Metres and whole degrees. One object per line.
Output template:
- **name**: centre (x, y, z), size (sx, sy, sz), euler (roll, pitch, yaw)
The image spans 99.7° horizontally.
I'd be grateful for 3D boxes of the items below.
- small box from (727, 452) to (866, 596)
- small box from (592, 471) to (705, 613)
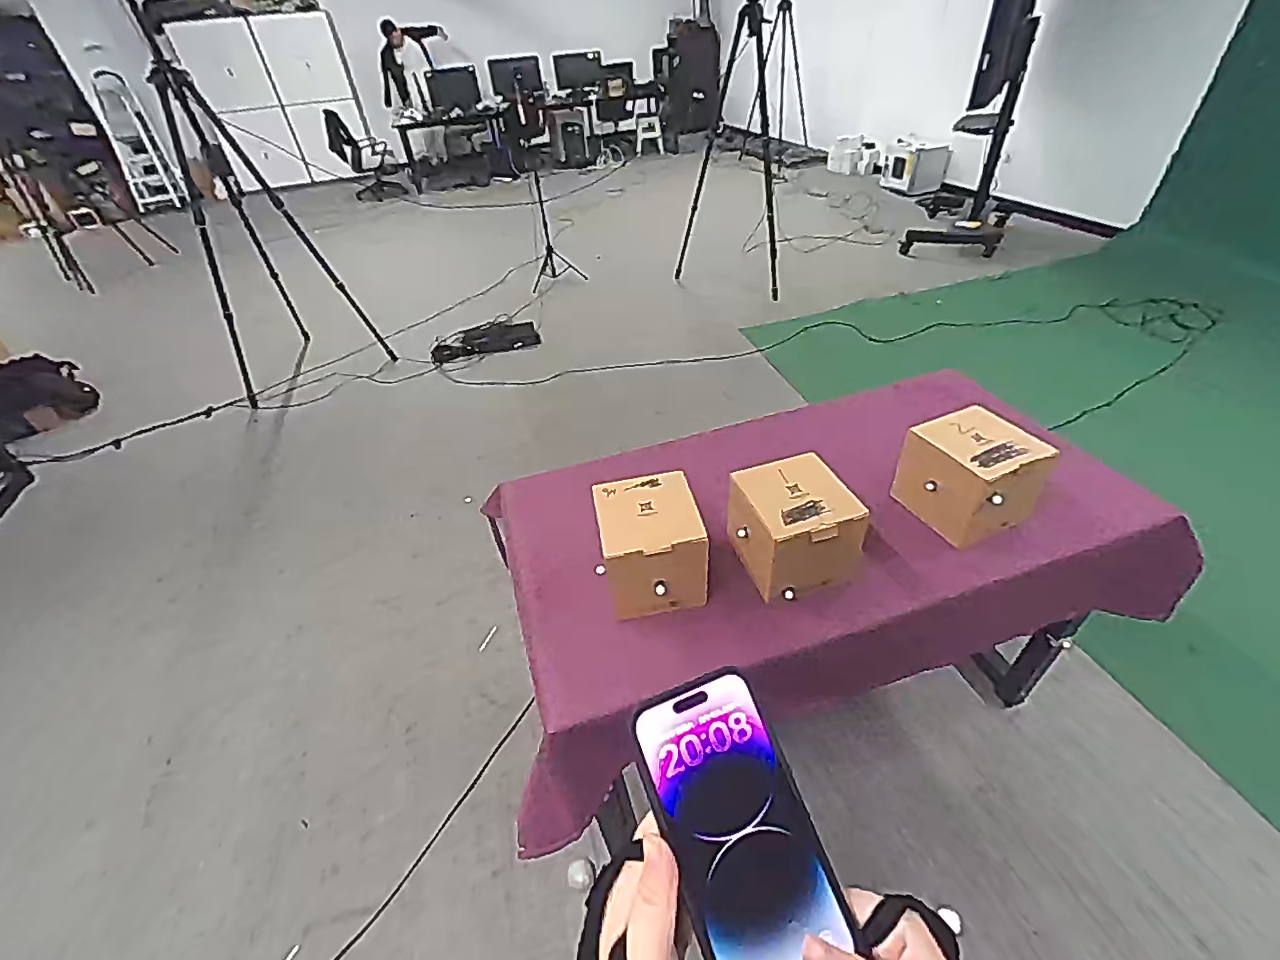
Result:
- **small box**: centre (0.263, 0.082, 0.947), size (0.168, 0.176, 0.179), euler (-15, 40, -10)
- **small box**: centre (0.015, 0.114, 0.944), size (0.168, 0.176, 0.179), euler (-10, 41, -4)
